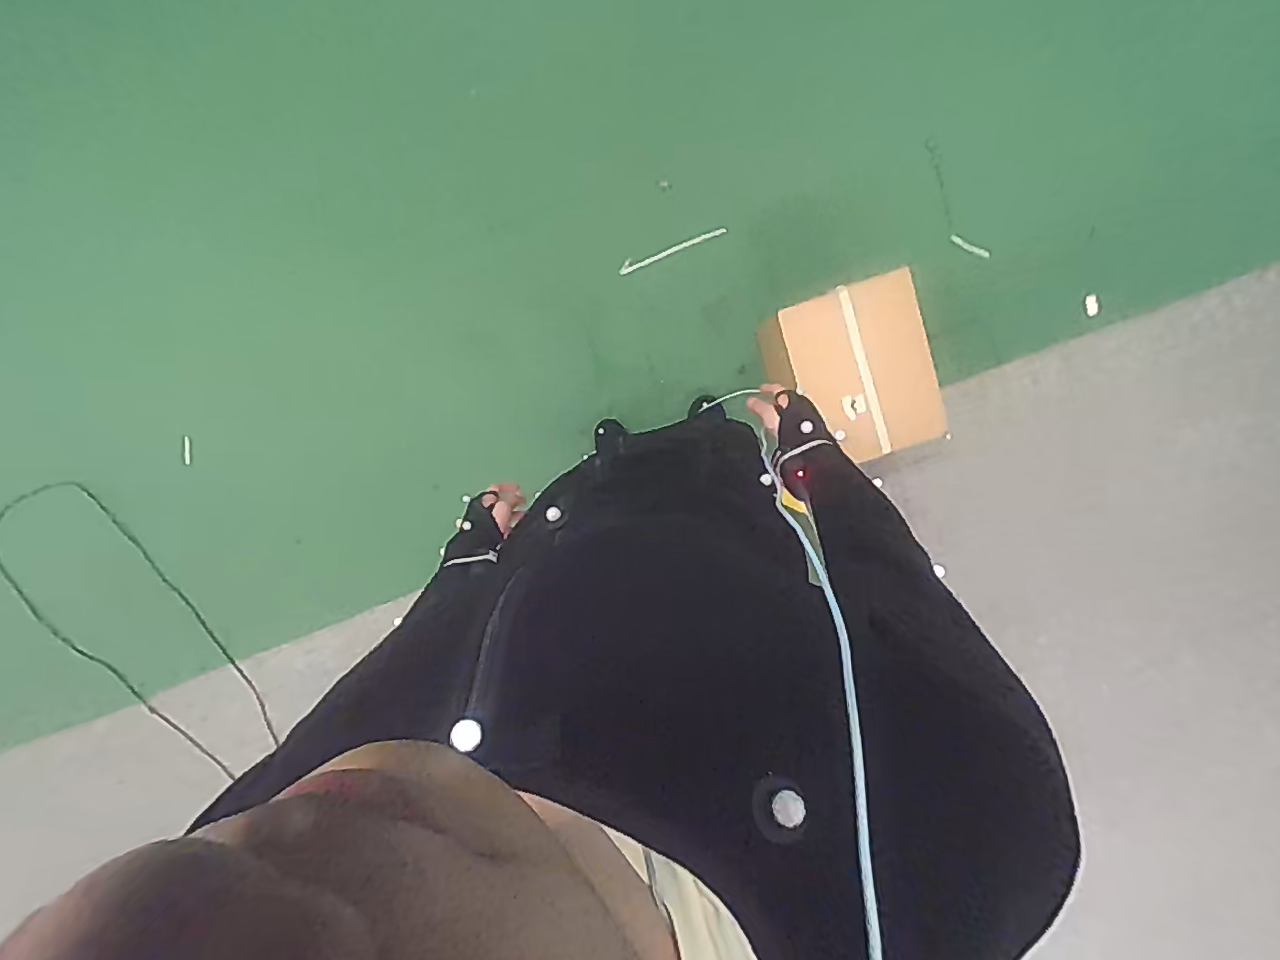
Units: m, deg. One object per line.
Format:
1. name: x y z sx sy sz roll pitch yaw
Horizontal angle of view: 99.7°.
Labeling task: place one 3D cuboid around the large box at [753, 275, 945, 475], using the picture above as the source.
1. large box: 0.528 -0.265 1.427 0.320 0.320 0.408 -18 98 5
